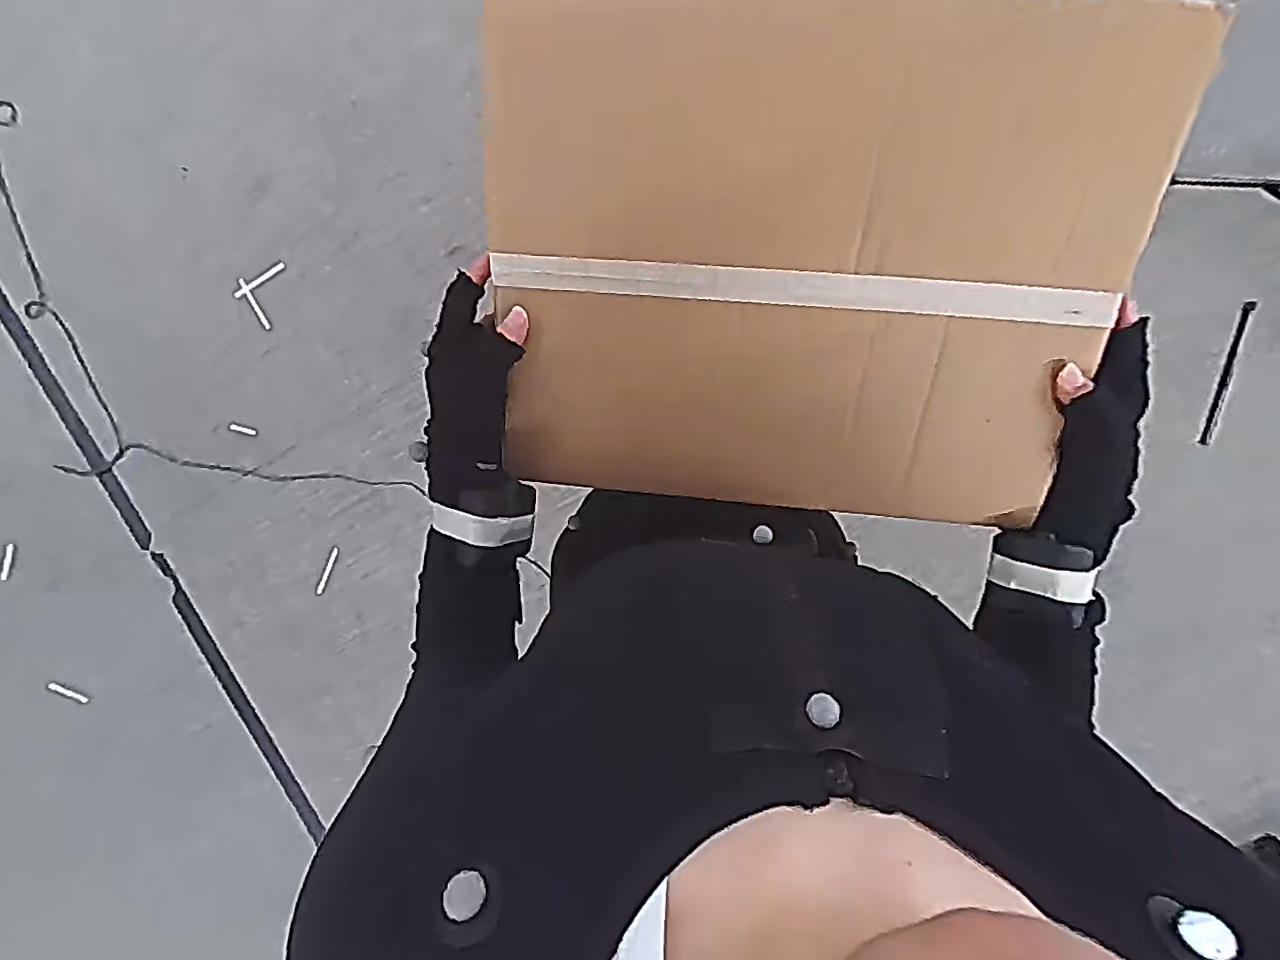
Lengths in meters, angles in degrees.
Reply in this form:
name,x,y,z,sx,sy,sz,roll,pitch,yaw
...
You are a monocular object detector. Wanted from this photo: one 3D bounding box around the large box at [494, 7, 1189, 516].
name,x,y,z,sx,sy,sz,roll,pitch,yaw
large box,0.113,-0.184,0.506,0.408,0.320,0.320,5,115,3
